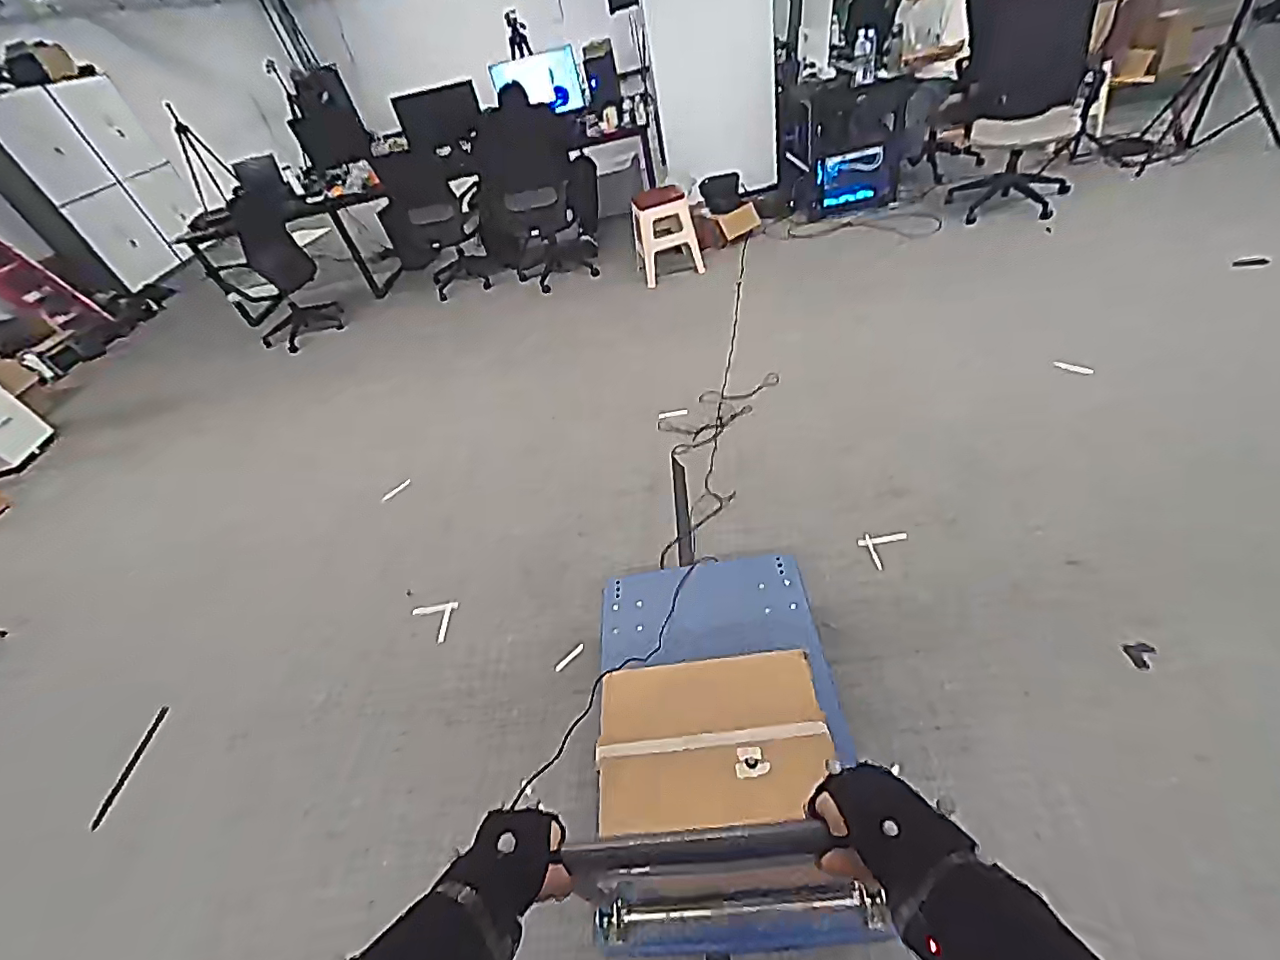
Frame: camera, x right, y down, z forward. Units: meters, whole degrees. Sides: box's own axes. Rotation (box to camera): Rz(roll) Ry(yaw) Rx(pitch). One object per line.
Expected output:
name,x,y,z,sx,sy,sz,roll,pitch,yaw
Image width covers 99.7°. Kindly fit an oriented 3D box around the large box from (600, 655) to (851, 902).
large box,0.150,0.583,1.051,0.408,0.320,0.320,-10,42,6
